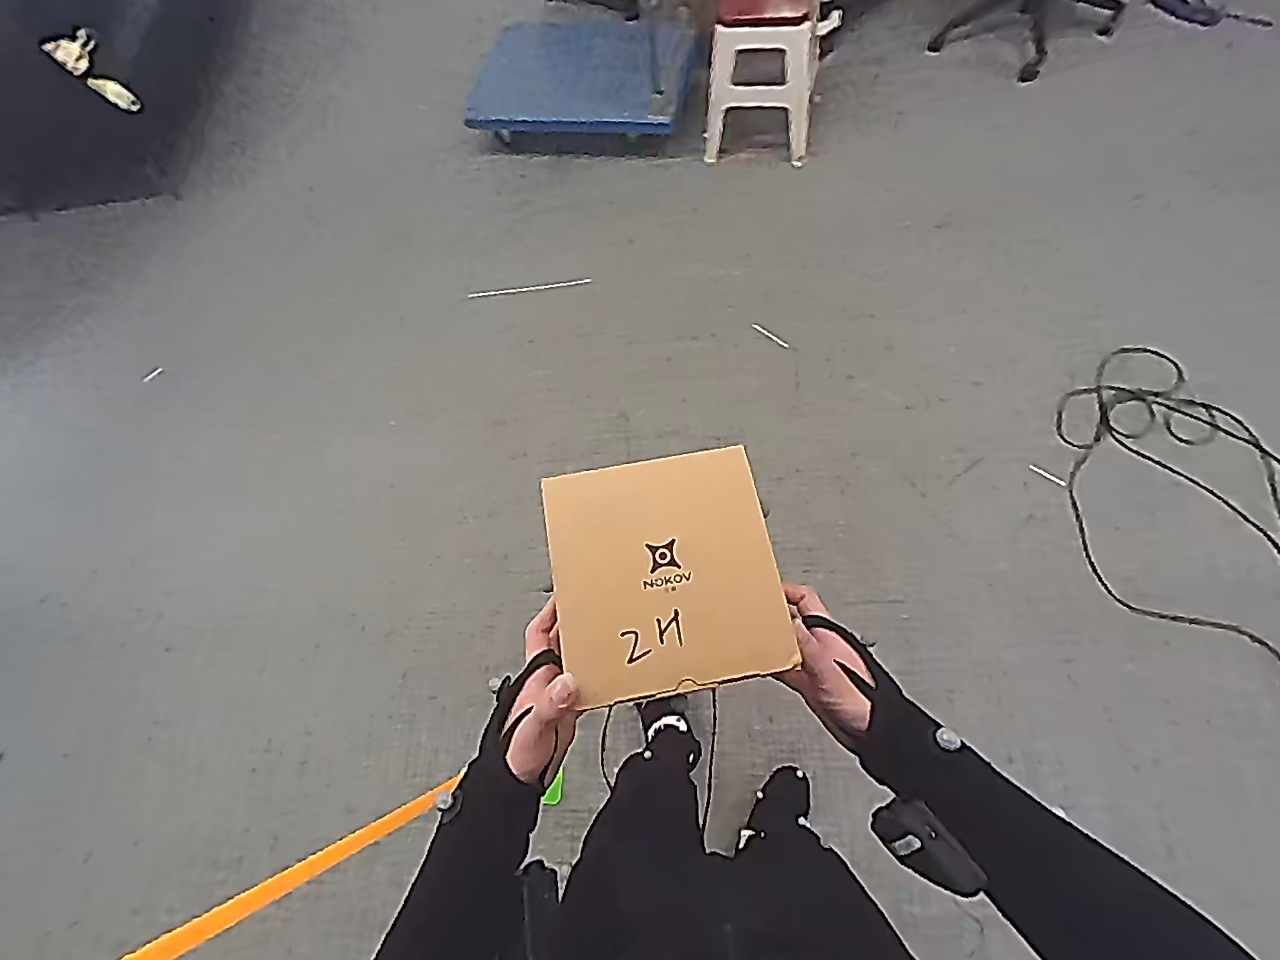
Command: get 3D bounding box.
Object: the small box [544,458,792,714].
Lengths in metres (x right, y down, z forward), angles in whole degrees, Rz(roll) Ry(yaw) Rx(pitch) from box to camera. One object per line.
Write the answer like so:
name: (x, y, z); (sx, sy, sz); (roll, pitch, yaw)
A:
small box: (0.015, 0.101, 0.482); (0.168, 0.176, 0.179); (-9, 70, -2)

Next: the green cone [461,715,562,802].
green cone: (-0.332, 0.676, 1.274); (0.202, 0.368, 0.200); (-1, 70, 8)
